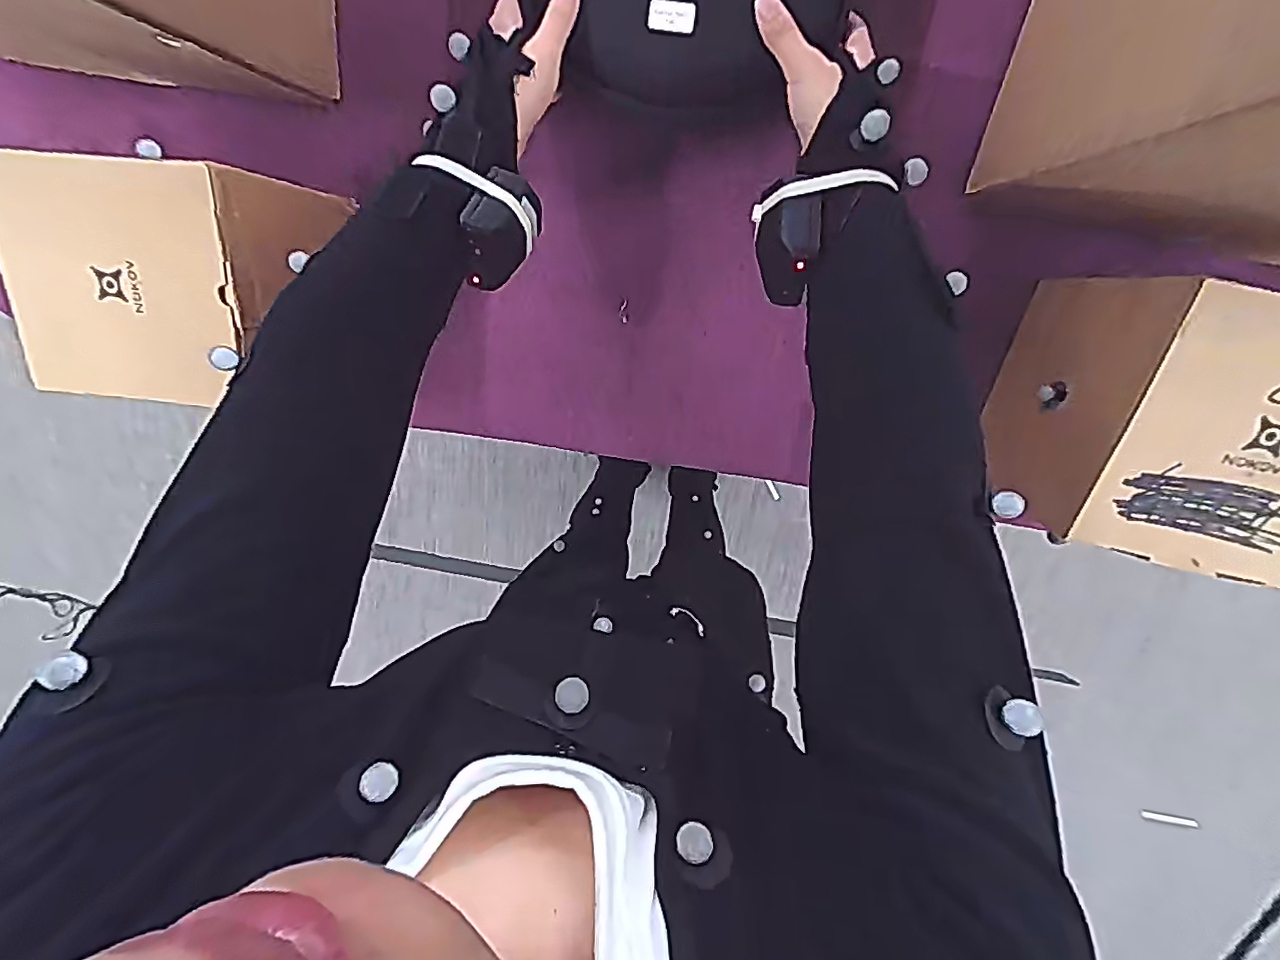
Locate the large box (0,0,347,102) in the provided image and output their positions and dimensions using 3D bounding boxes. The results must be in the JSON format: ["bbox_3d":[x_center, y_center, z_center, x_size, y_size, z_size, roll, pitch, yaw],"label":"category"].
[{"bbox_3d":[-0.393,-0.482,0.272,0.320,0.320,0.408,8,113,2],"label":"large box"}]

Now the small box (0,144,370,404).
[{"bbox_3d":[-0.362,-0.166,0.459,0.179,0.176,0.168,5,109,3],"label":"small box"}]
